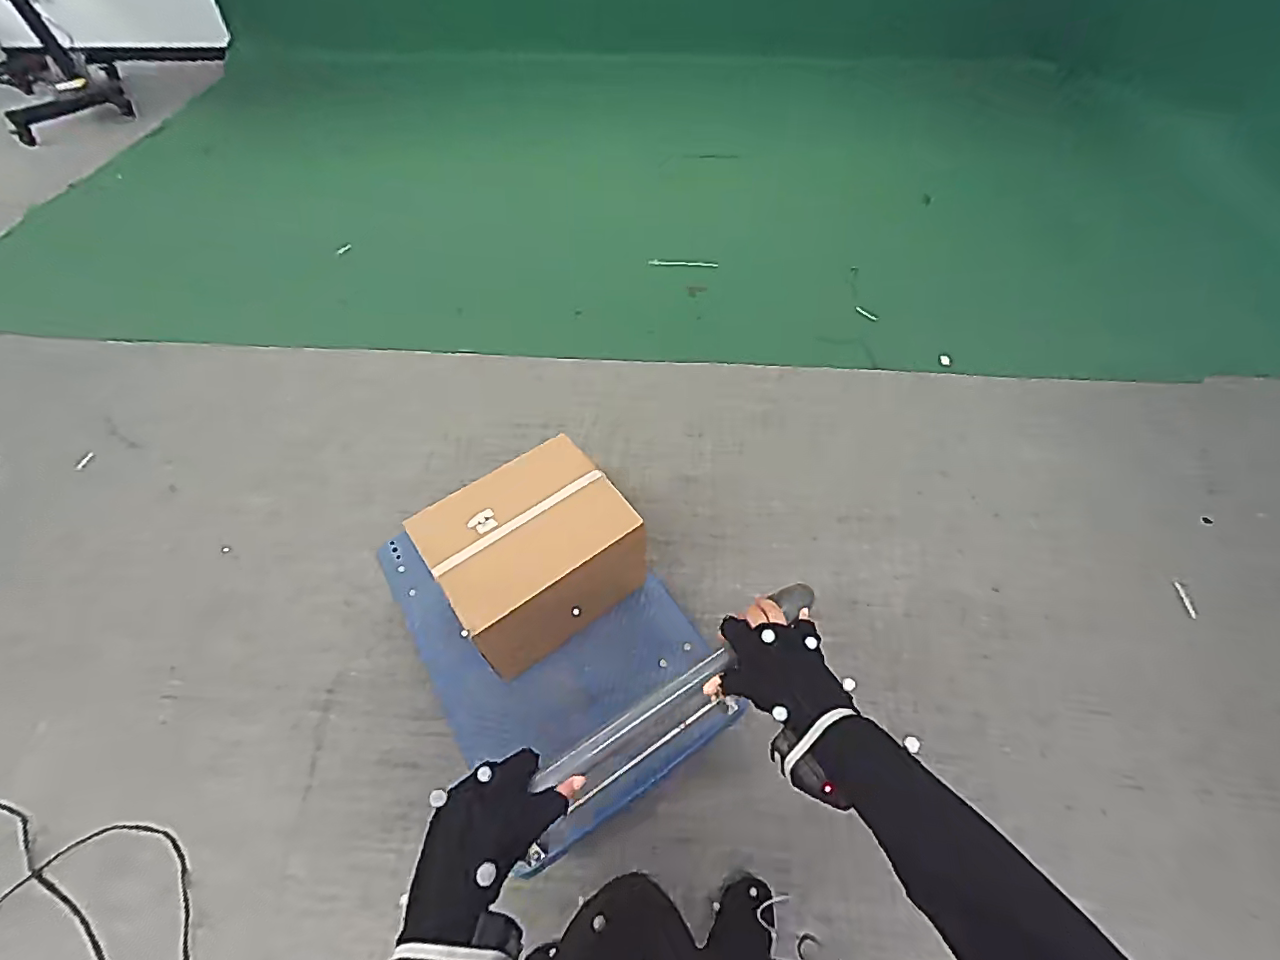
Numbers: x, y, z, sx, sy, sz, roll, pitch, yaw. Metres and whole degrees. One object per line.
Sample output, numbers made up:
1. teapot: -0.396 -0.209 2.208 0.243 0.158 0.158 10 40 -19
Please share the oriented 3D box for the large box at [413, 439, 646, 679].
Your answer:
1. large box: -0.231 0.185 1.266 0.408 0.320 0.320 -34 61 -19
